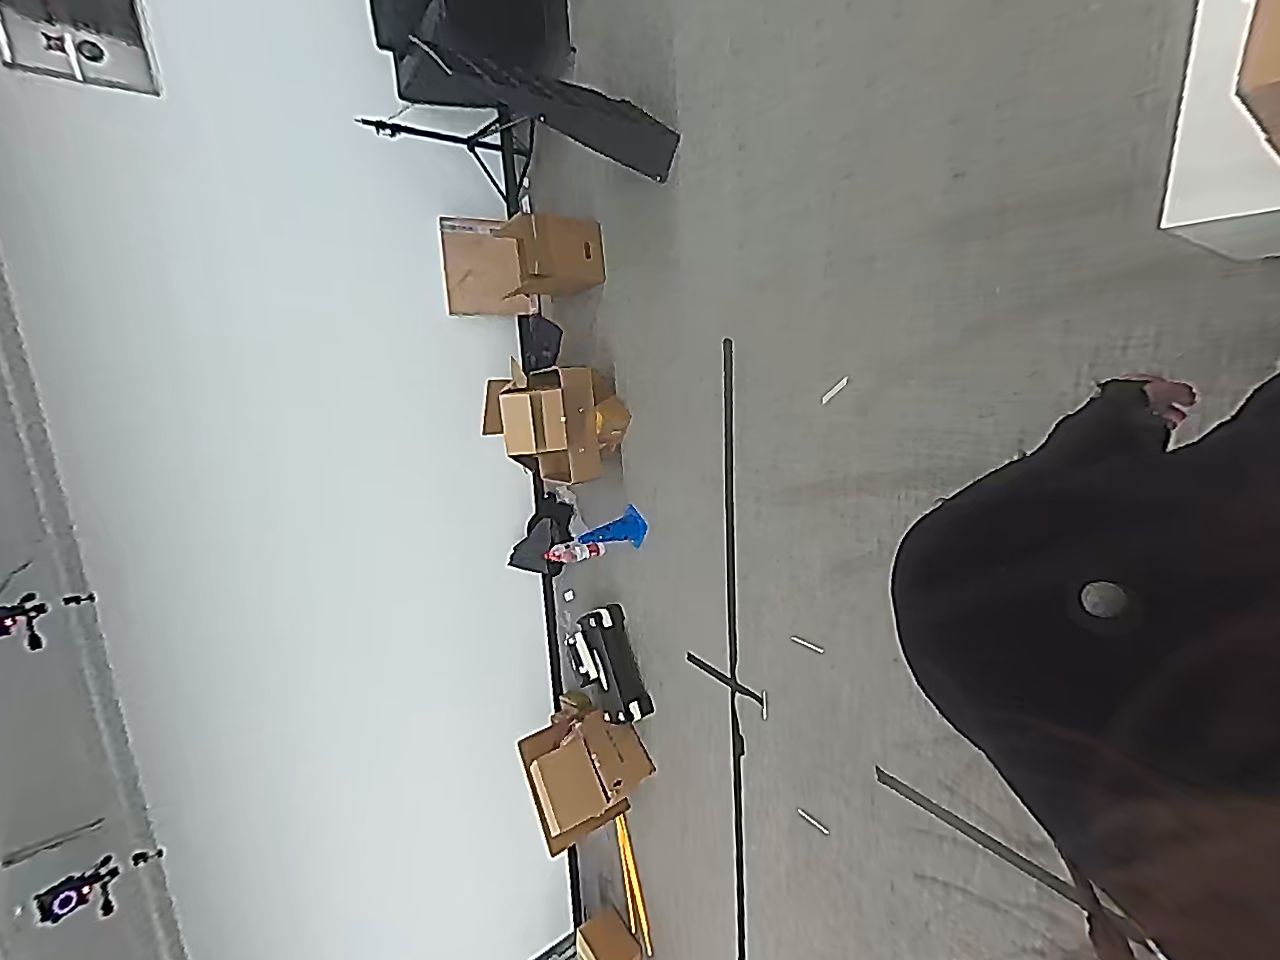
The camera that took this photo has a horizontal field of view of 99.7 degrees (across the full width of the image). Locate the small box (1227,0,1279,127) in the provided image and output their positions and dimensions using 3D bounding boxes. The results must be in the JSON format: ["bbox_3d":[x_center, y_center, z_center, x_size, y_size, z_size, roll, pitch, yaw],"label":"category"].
[{"bbox_3d":[0.635,-0.425,0.442,0.168,0.176,0.179,20,114,53],"label":"small box"}]
